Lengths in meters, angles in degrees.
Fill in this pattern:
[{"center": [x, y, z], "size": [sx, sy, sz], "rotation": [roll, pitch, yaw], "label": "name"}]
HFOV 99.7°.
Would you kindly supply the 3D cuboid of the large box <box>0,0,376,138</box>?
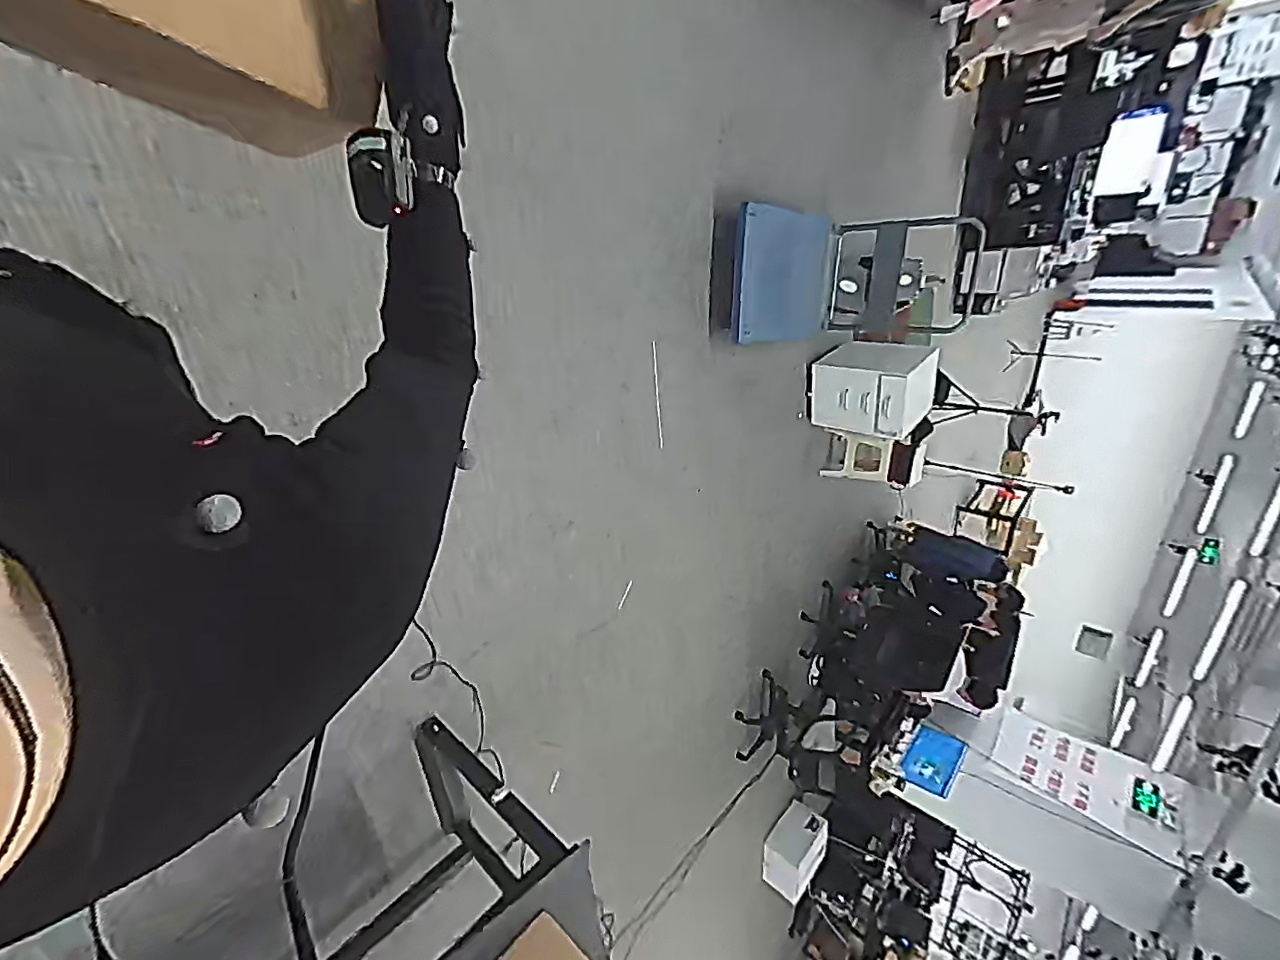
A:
[{"center": [-0.452, -0.526, 0.406], "size": [0.408, 0.320, 0.320], "rotation": [3, 107, -48], "label": "large box"}]
